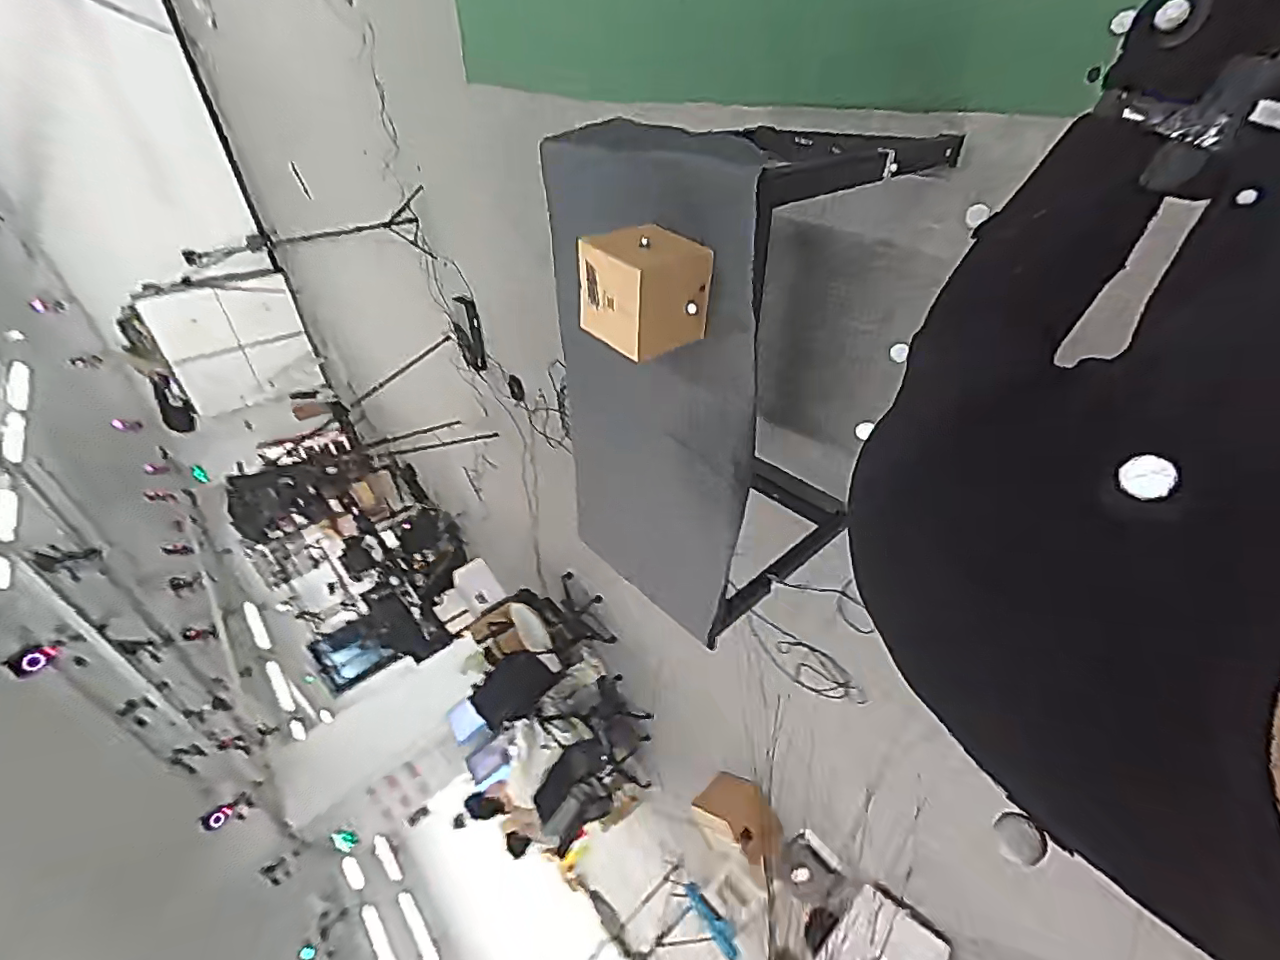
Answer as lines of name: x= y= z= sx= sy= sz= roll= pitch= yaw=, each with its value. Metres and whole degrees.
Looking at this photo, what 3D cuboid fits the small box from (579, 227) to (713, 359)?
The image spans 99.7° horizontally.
small box: x=0.006 y=-0.348 z=0.985 sx=0.179 sy=0.176 sz=0.168 roll=40 pitch=144 yaw=34
